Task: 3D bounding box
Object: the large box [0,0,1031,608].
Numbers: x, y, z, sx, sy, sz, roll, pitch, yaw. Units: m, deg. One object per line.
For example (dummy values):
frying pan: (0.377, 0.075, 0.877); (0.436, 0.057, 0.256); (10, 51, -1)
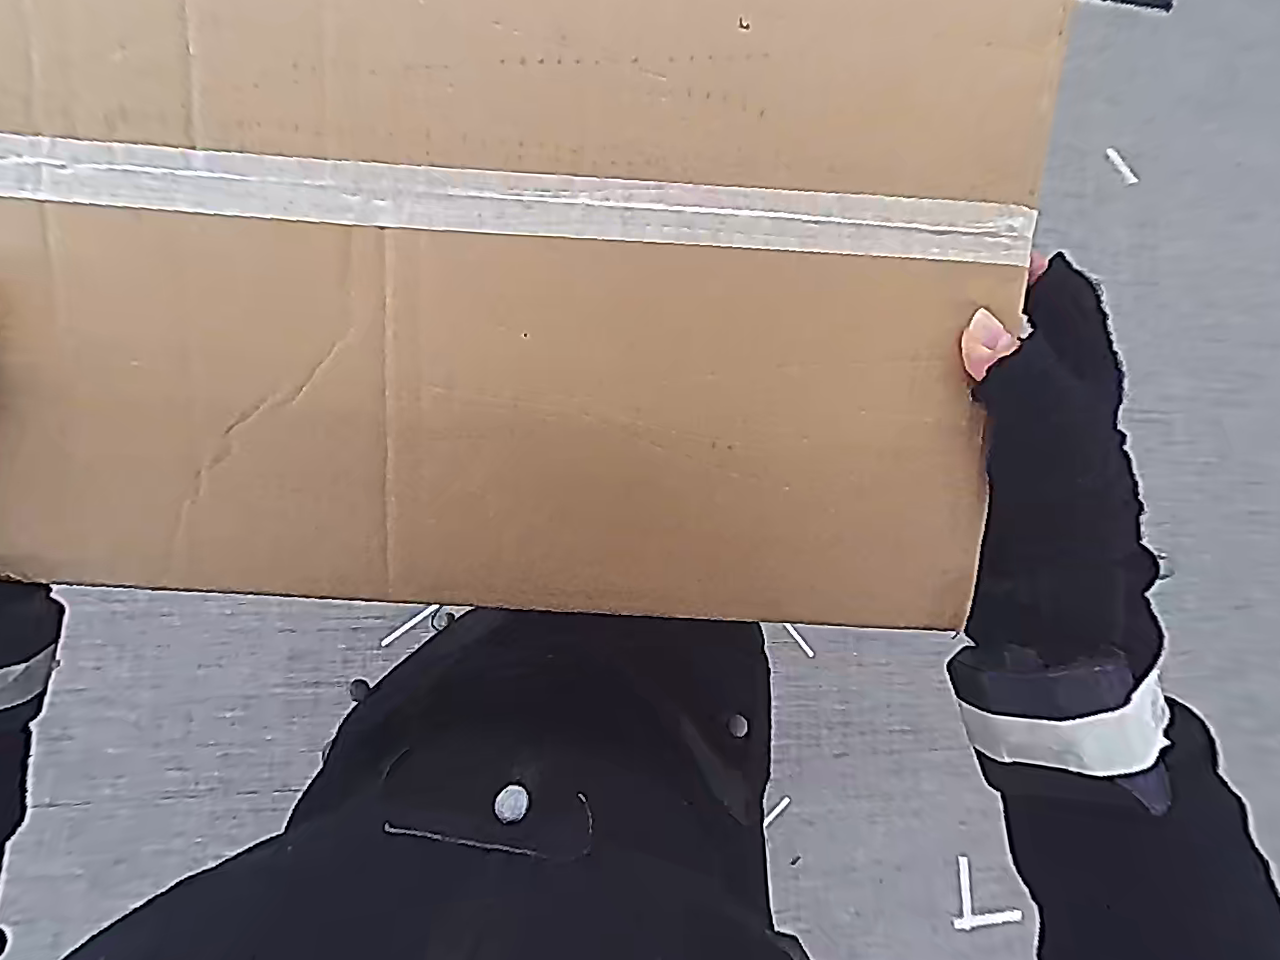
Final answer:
large box: (-0.059, -0.129, 0.359); (0.408, 0.320, 0.320); (4, 99, -2)
